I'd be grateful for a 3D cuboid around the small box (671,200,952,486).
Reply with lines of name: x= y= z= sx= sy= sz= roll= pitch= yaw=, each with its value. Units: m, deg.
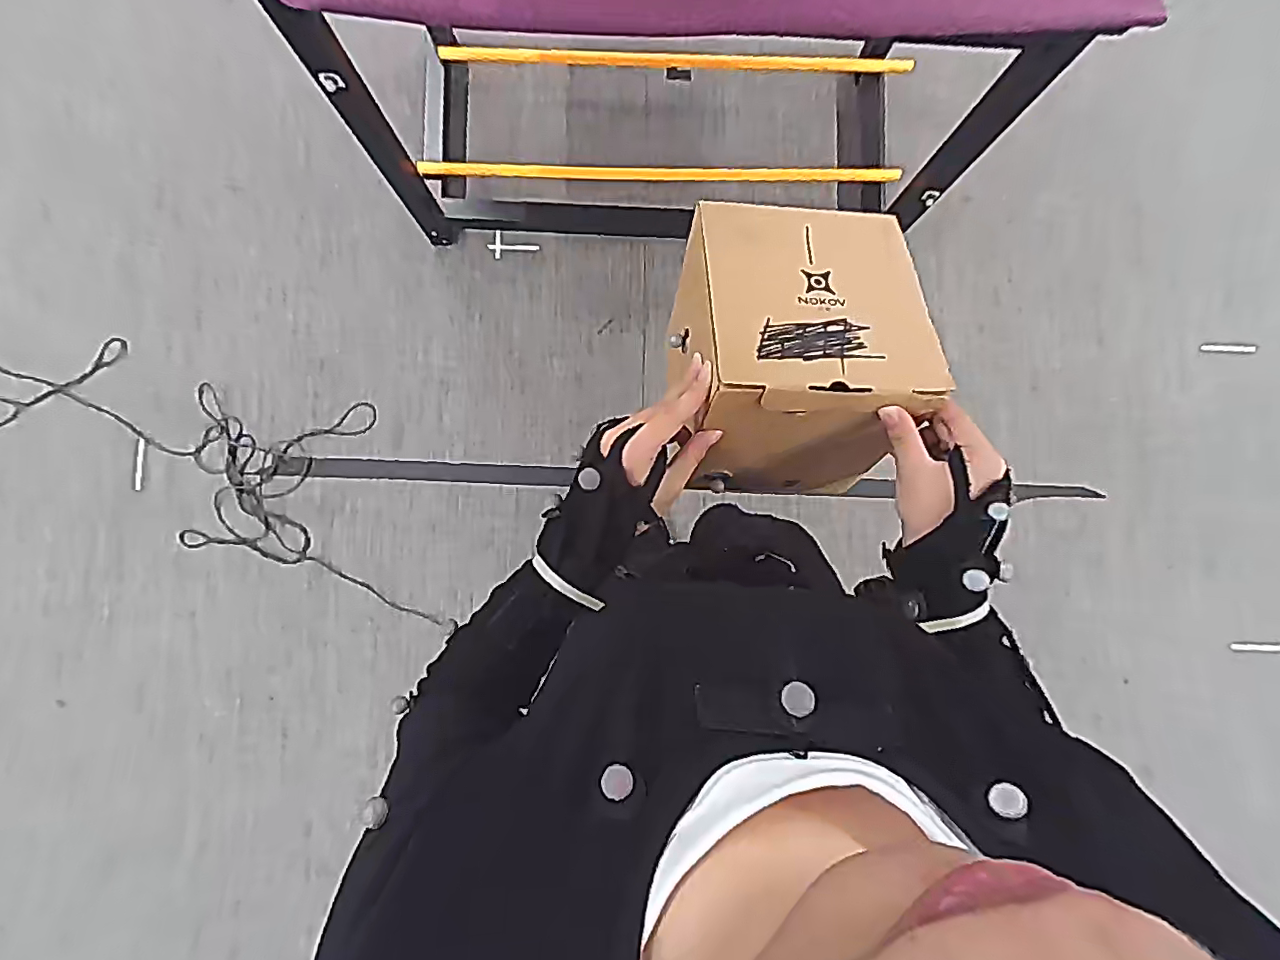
small box: x=0.122 y=-0.104 z=0.464 sx=0.168 sy=0.176 sz=0.179 roll=1 pitch=65 yaw=-6
